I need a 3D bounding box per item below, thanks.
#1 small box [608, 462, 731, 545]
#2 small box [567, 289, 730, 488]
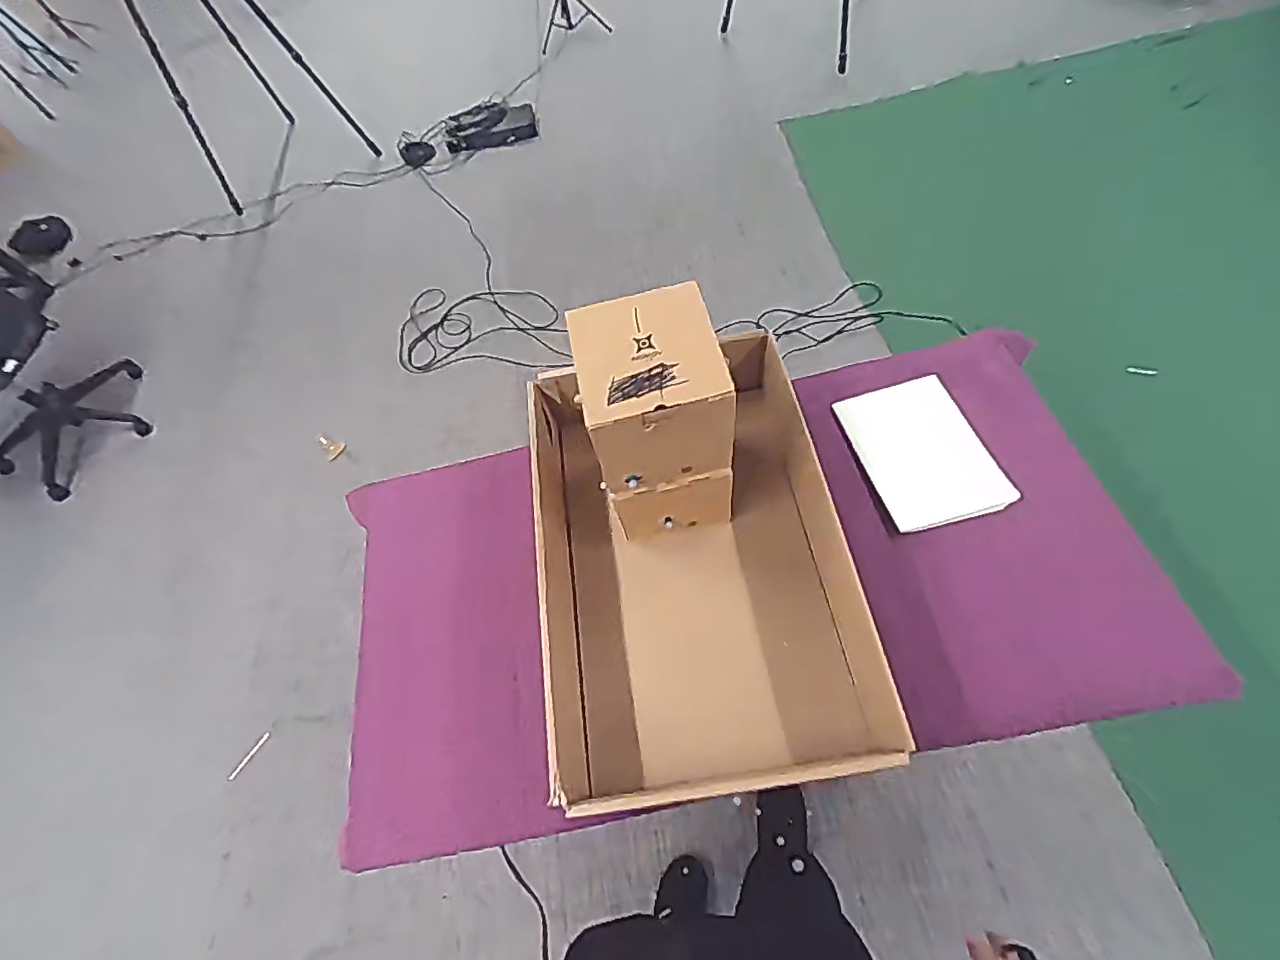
[{"bbox_3d":[0.035,-0.022,0.828,0.168,0.176,0.179,-12,62,1],"label":"small box"},{"bbox_3d":[0.014,-0.105,0.688,0.168,0.176,0.179,-13,61,0],"label":"small box"}]
